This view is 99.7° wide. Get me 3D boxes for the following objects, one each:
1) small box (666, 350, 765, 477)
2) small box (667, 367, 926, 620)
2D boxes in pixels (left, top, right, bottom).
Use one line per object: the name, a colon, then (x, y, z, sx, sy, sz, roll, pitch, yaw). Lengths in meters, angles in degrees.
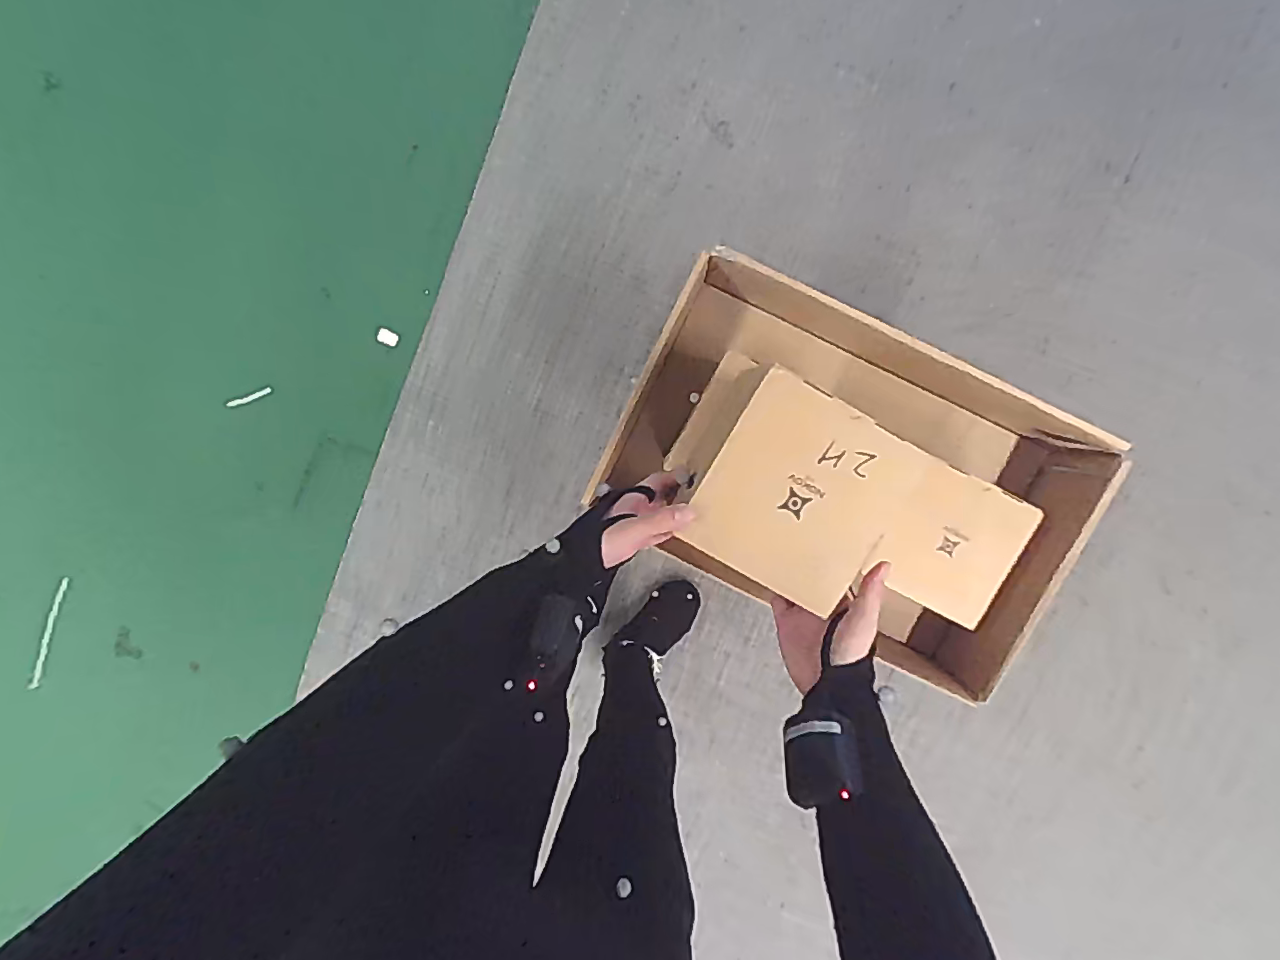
small box: (0.146, -0.055, 0.759, 0.168, 0.176, 0.179, 29, 96, 1)
small box: (0.140, 0.004, 0.555, 0.168, 0.176, 0.179, 30, 98, -4)
